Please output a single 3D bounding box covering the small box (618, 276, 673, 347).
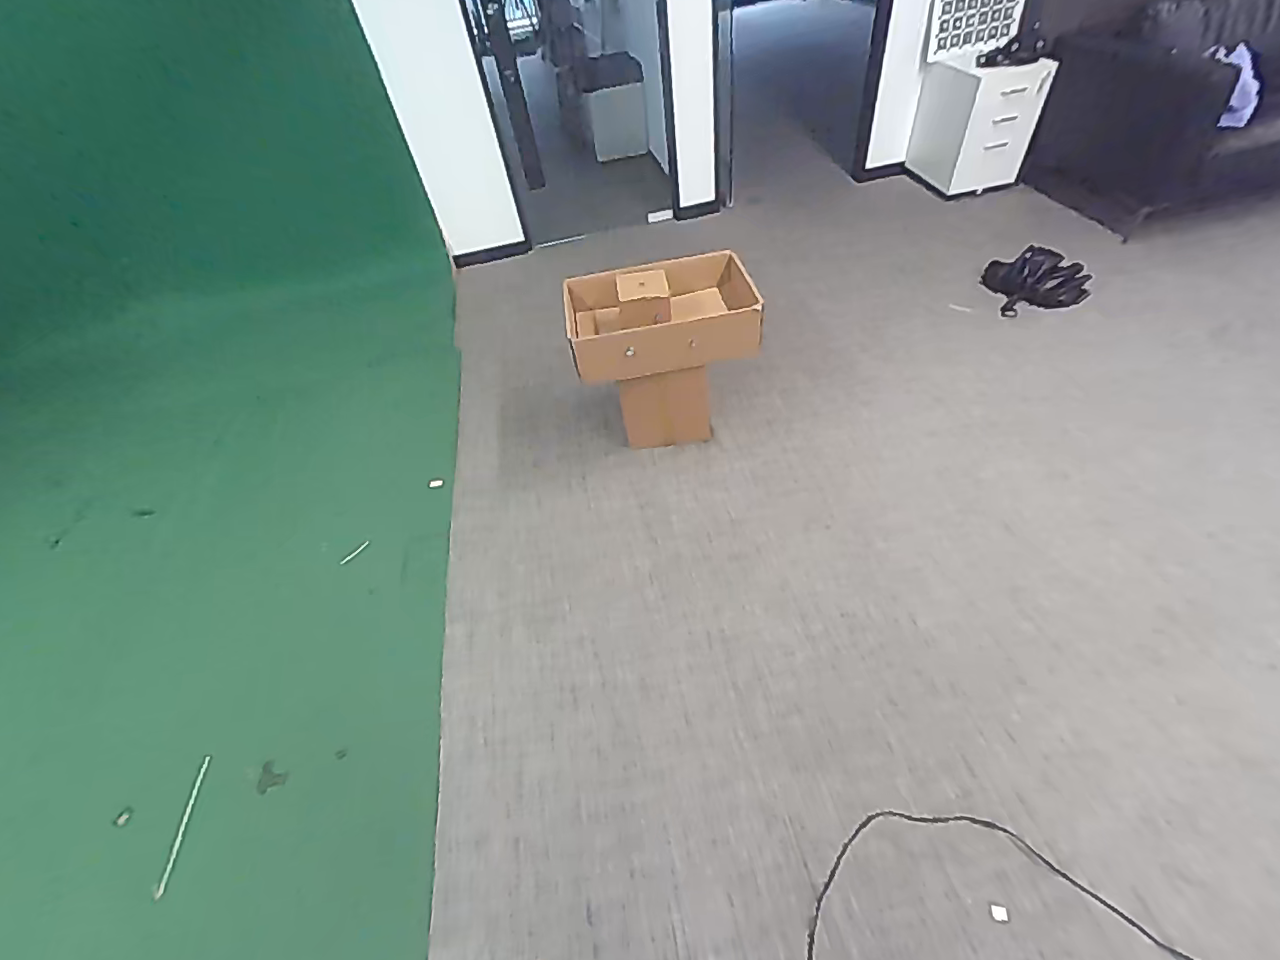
[{"bbox_3d":[0.019,-0.567,1.840,0.168,0.176,0.179,-7,45,-1],"label":"small box"}]
